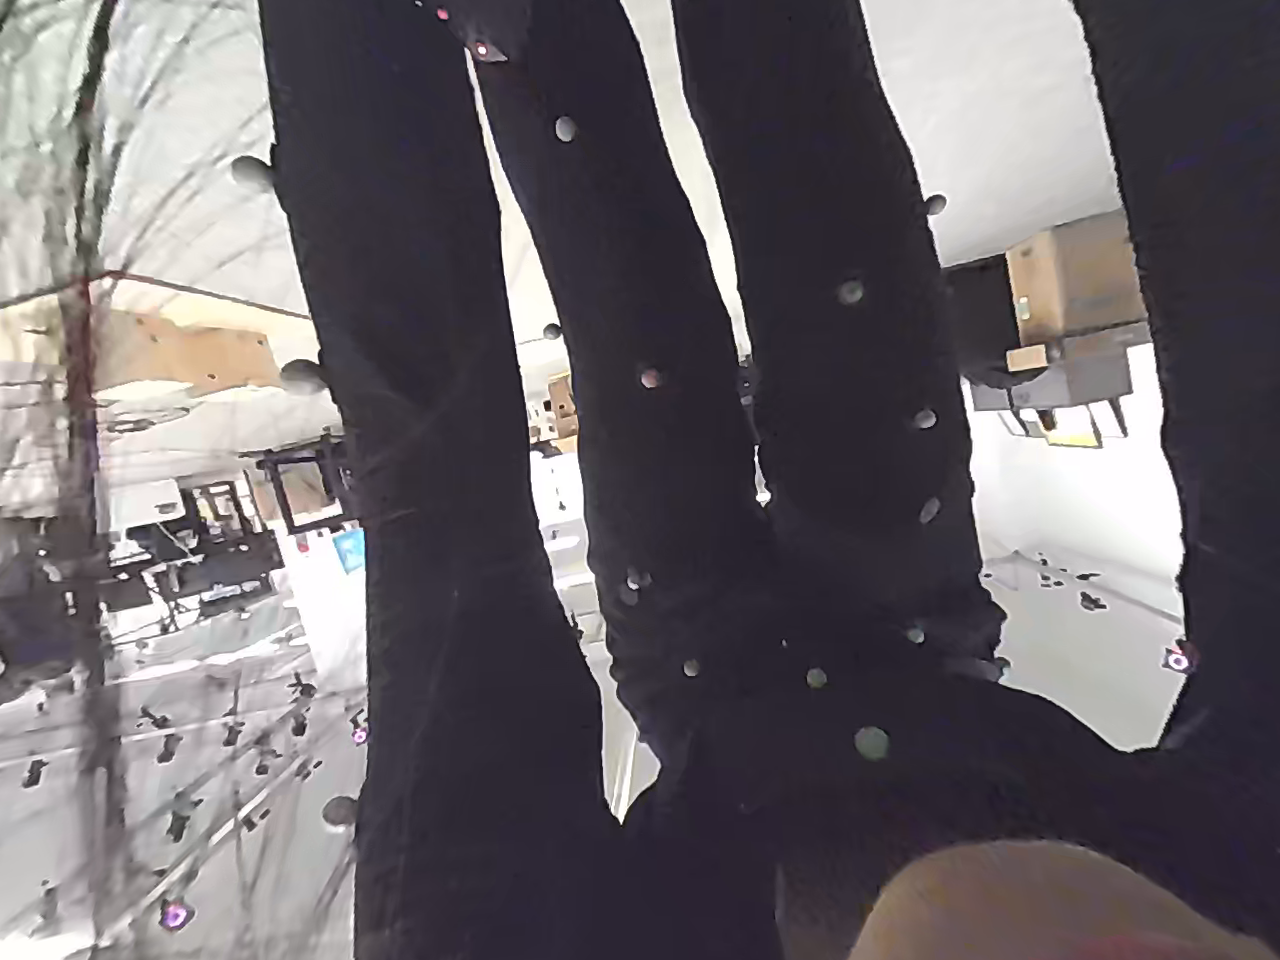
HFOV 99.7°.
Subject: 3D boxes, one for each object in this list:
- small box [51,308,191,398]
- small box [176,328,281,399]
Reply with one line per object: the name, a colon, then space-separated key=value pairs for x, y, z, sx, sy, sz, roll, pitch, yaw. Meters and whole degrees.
small box: x=-1.265 y=-0.305 z=1.319 sx=0.179 sy=0.176 sz=0.168 roll=-14 pitch=-173 yaw=3
small box: x=-1.219 y=-0.341 z=1.593 sx=0.179 sy=0.176 sz=0.168 roll=-12 pitch=-174 yaw=9
